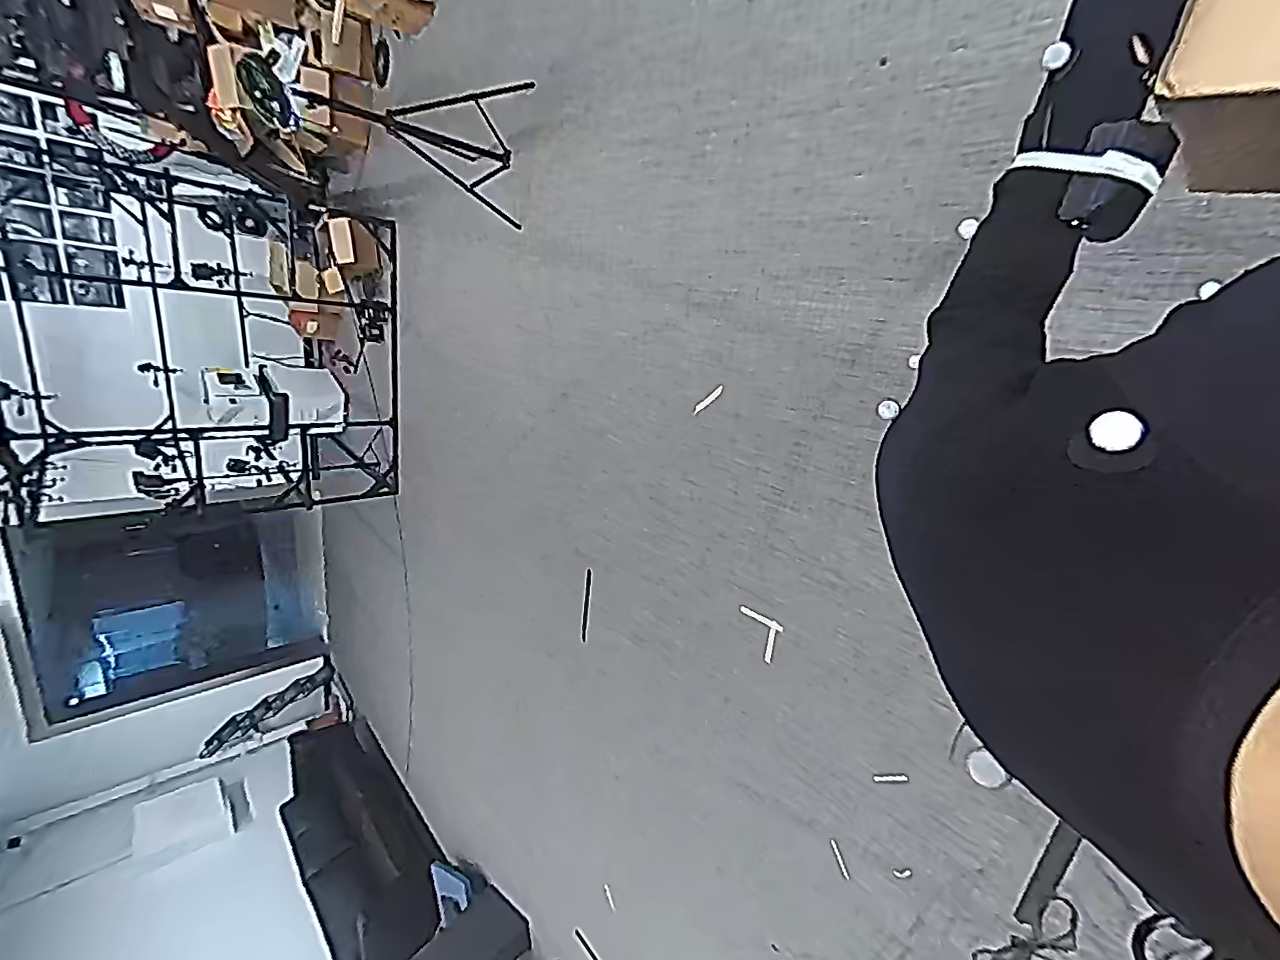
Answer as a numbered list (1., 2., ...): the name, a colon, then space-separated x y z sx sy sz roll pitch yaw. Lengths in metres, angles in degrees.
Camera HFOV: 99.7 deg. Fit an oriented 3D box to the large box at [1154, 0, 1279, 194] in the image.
1. large box: 0.621 -0.360 0.297 0.408 0.320 0.320 29 120 42
